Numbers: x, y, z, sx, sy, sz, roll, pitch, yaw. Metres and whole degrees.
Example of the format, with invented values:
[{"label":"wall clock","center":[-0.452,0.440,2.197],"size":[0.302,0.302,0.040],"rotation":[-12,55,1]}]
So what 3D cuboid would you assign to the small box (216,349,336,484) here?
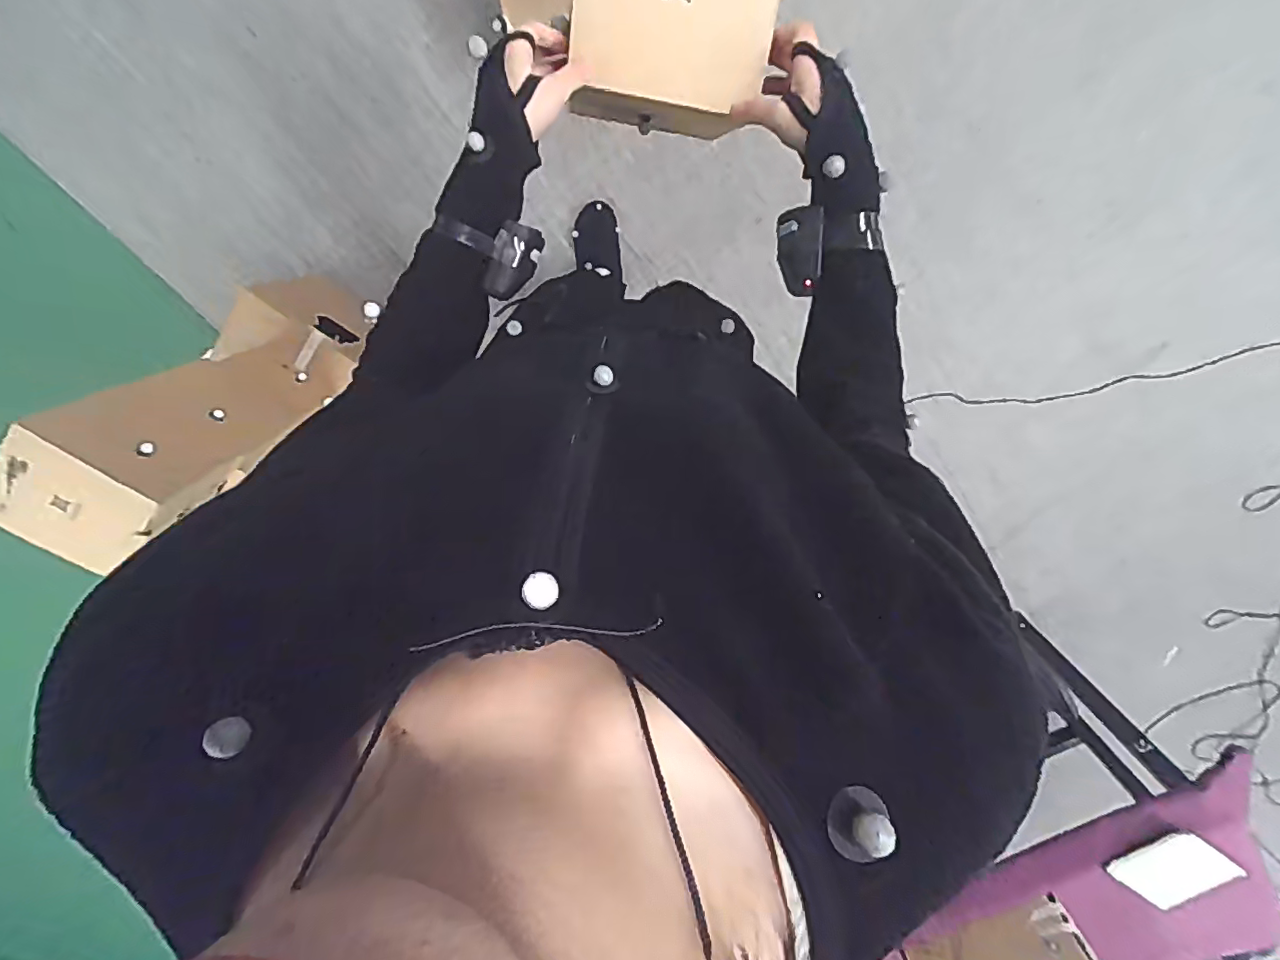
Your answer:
[{"label":"small box","center":[-0.747,-0.131,1.073],"size":[0.168,0.176,0.179],"rotation":[38,108,-19]}]

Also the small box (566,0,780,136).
[{"label":"small box","center":[0.026,-0.432,0.490],"size":[0.168,0.176,0.179],"rotation":[5,115,-9]}]

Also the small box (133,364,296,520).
[{"label":"small box","center":[-0.738,-0.071,0.921],"size":[0.179,0.176,0.168],"rotation":[40,108,-19]}]

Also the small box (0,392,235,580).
[{"label":"small box","center":[-0.738,0.001,0.773],"size":[0.179,0.176,0.168],"rotation":[38,108,-20]}]

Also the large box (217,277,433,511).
[{"label":"large box","center":[-0.770,-0.215,1.304],"size":[0.320,0.320,0.408],"rotation":[36,111,-15]}]
